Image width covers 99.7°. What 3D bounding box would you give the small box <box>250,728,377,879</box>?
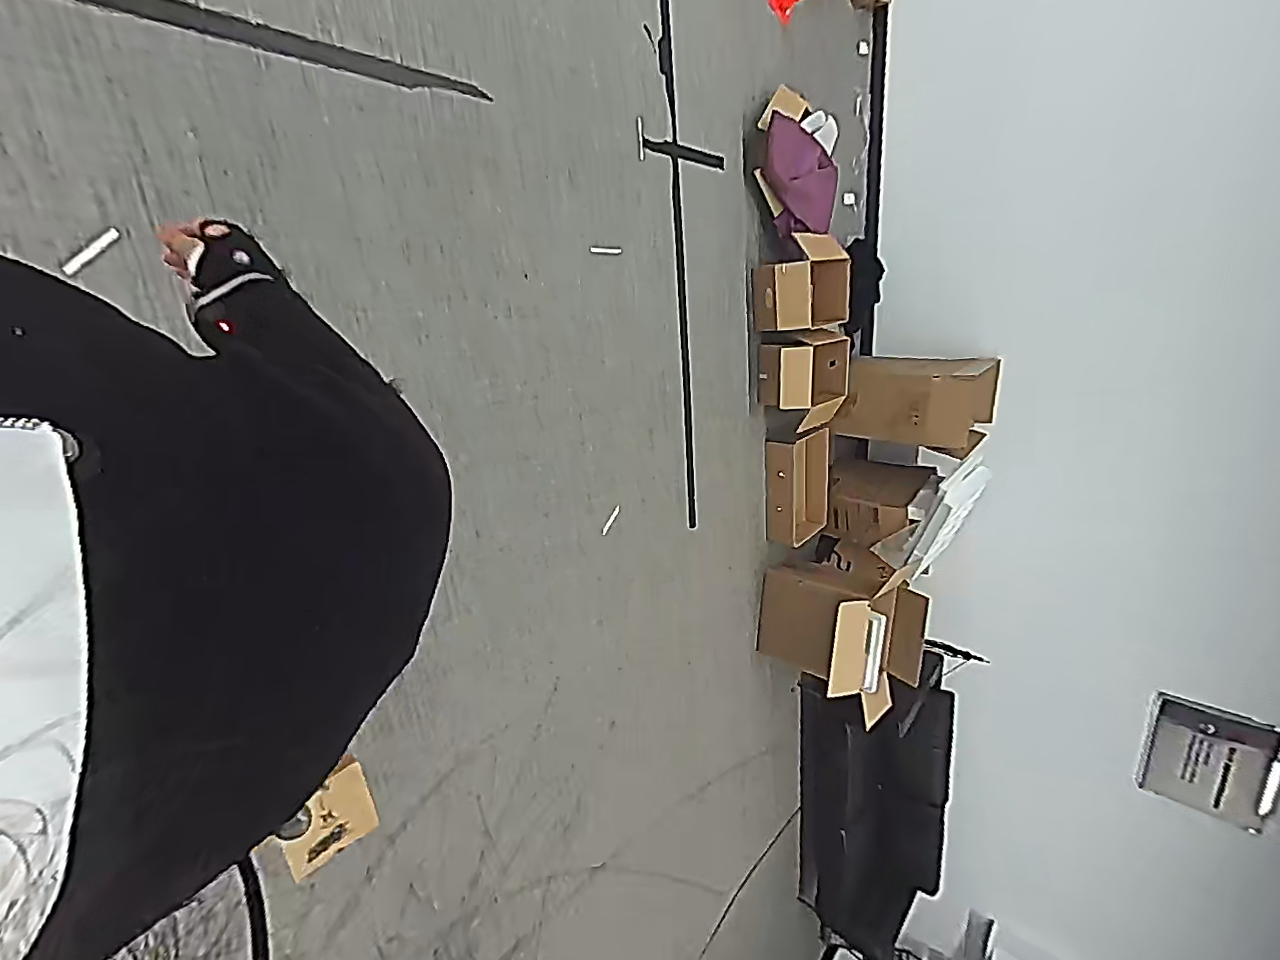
[{"bbox_3d":[-0.686,0.666,1.137,0.168,0.176,0.179,-23,115,-42],"label":"small box"}]
